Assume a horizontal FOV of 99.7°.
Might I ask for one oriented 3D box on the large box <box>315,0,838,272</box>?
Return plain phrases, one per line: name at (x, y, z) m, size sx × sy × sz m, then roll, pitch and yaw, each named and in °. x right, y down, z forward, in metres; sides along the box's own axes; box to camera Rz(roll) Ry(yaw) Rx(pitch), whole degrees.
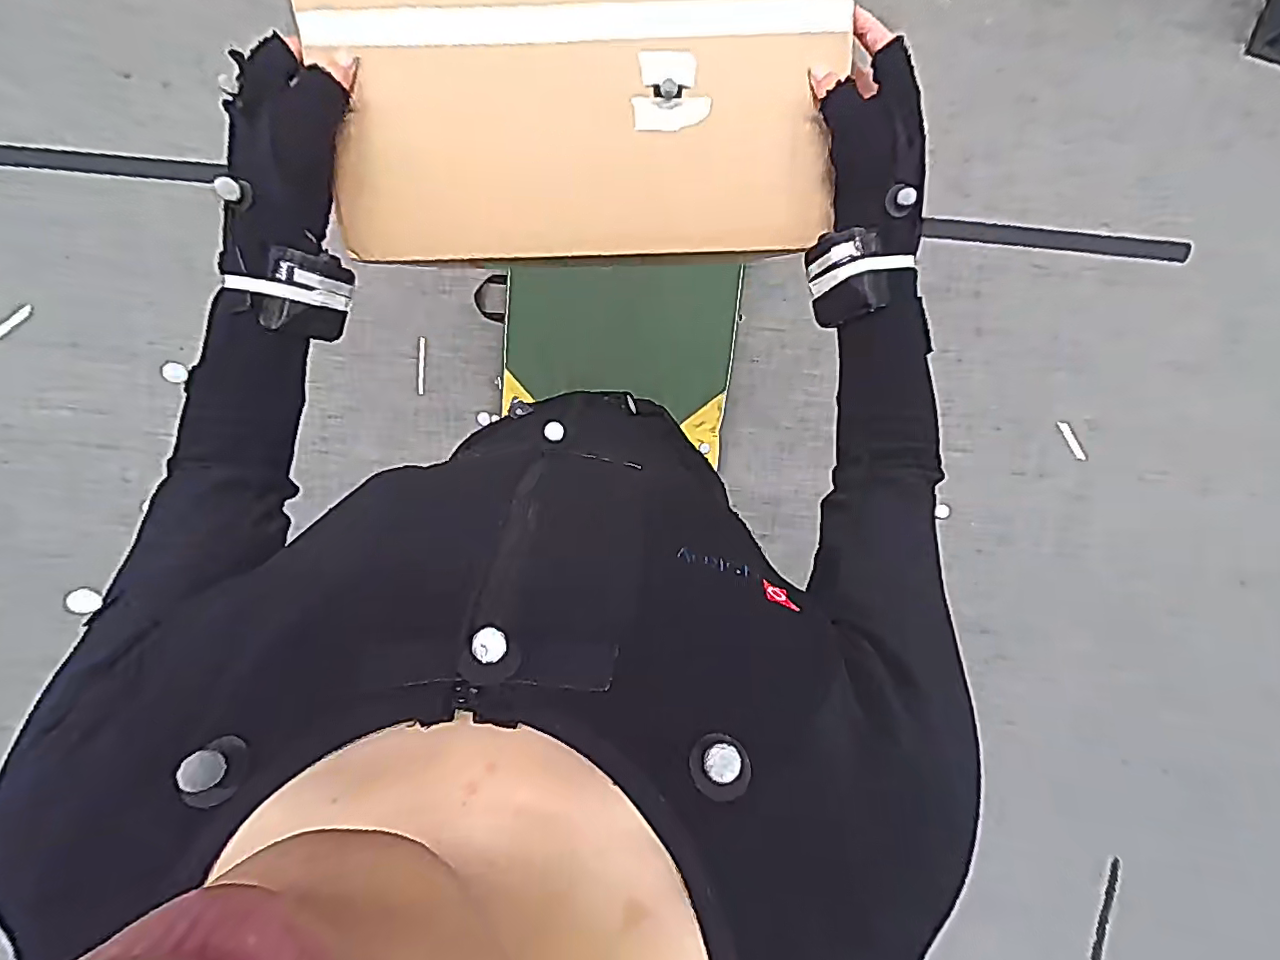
large box at (-0.052, -0.393, 0.556) m, size 0.408 × 0.320 × 0.320 m, roll -3°, pitch 110°, yaw -2°
